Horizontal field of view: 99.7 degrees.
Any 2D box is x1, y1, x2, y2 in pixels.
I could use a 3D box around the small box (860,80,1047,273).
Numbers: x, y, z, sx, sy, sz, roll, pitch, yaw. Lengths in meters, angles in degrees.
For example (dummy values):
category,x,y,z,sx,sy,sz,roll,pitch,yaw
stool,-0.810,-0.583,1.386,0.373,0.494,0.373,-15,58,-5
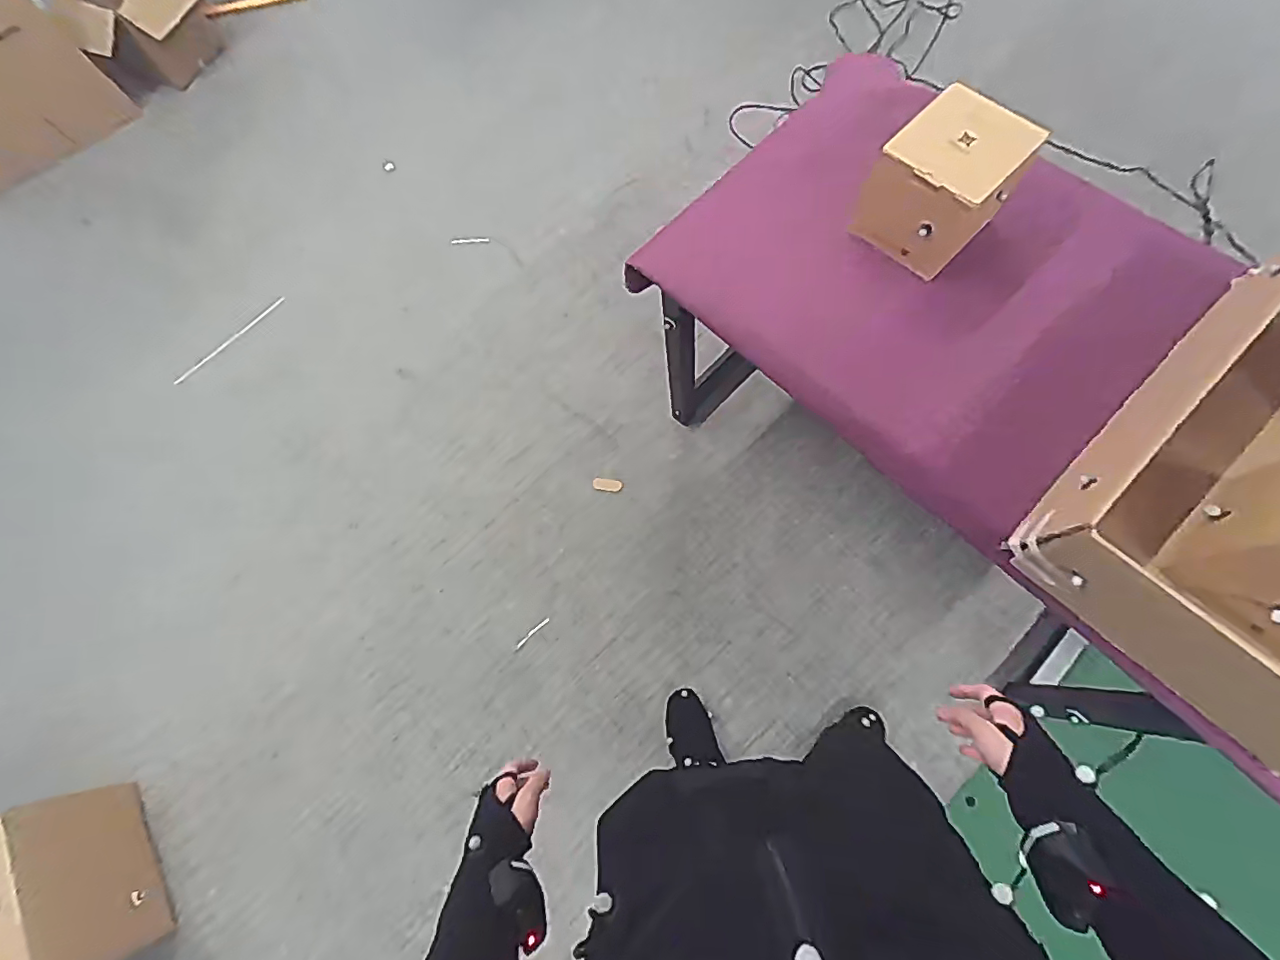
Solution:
category,x,y,z,sx,sy,sz,roll,pitch,yaw
small box,0.479,-0.472,0.864,0.179,0.176,0.168,-43,75,-8
